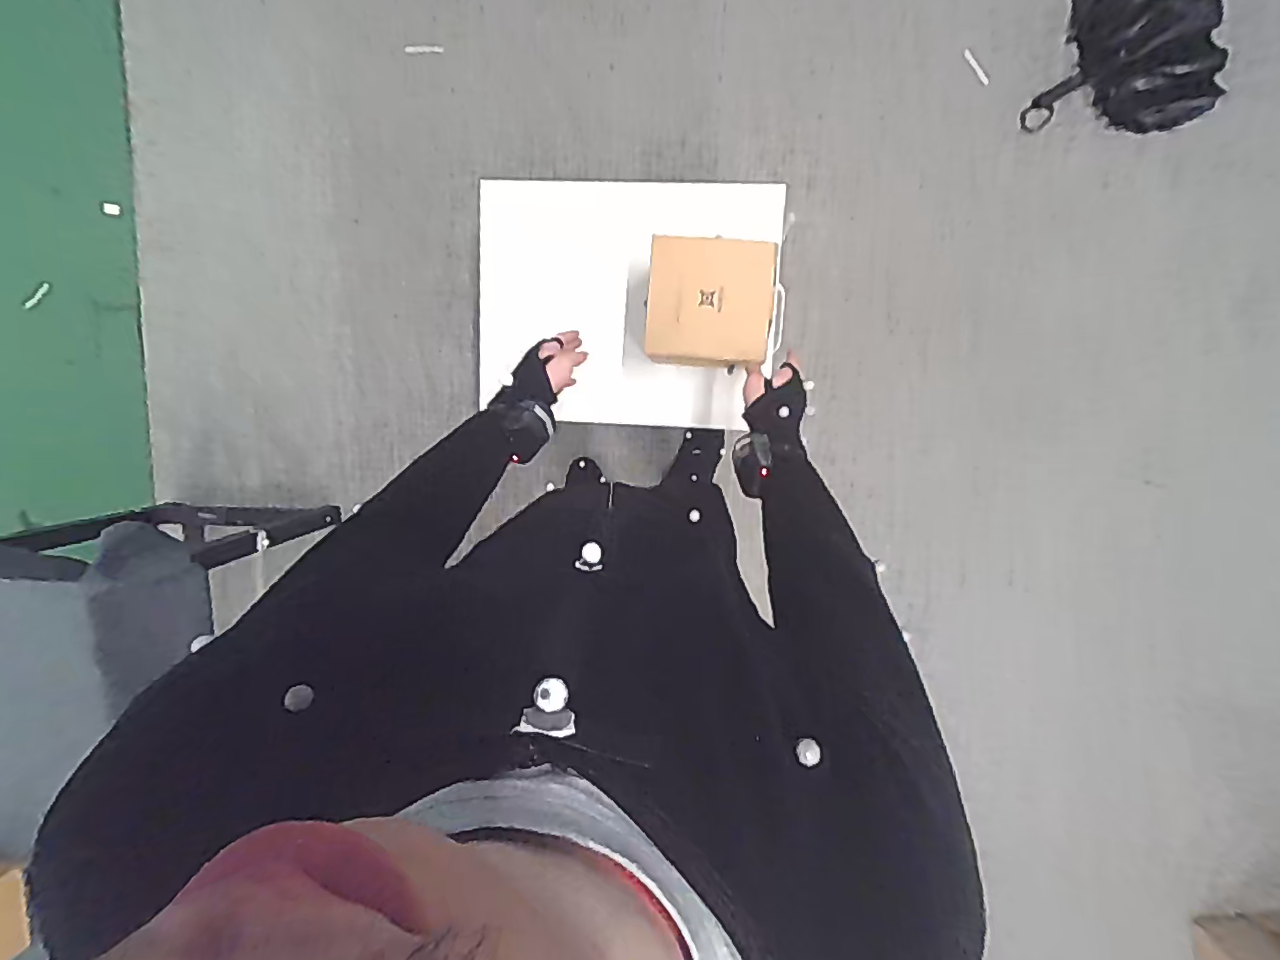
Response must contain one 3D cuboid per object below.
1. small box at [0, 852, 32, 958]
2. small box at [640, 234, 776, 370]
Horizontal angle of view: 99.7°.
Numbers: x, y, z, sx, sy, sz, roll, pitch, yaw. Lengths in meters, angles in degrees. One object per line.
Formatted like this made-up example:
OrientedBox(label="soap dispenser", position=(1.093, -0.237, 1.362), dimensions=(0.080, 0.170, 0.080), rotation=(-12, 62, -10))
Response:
OrientedBox(label="small box", position=(-1.263, 0.807, 0.971), dimensions=(0.168, 0.176, 0.179), rotation=(3, 98, 5))
OrientedBox(label="small box", position=(0.100, -0.261, 0.824), dimensions=(0.179, 0.176, 0.168), rotation=(5, 98, 6))
